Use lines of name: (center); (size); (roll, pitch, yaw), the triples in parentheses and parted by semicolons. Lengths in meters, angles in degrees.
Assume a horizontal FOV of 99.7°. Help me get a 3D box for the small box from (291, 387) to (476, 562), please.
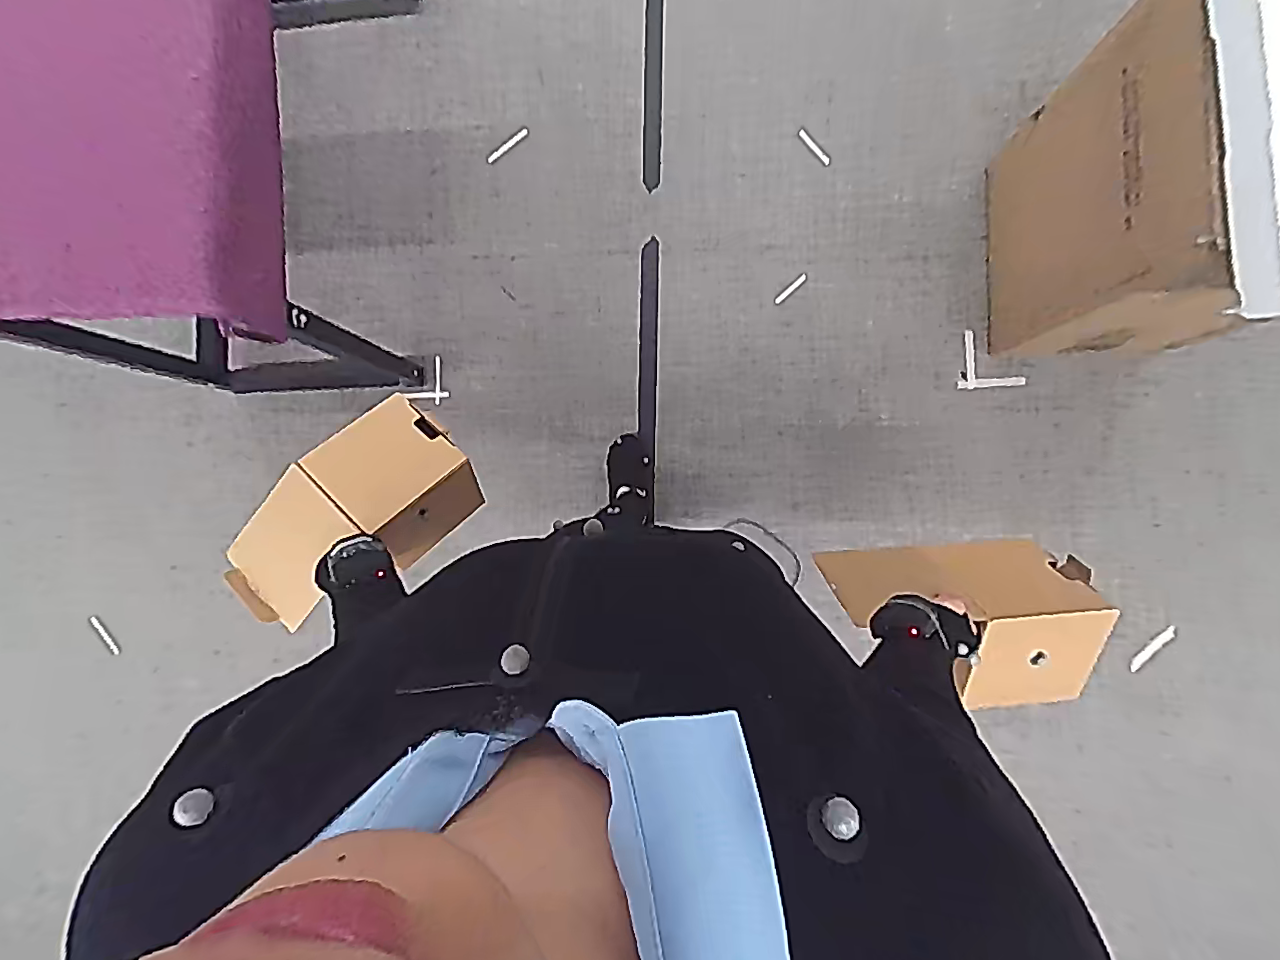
small box: (-0.378, -0.001, 0.833); (0.168, 0.176, 0.179); (41, 66, 12)
